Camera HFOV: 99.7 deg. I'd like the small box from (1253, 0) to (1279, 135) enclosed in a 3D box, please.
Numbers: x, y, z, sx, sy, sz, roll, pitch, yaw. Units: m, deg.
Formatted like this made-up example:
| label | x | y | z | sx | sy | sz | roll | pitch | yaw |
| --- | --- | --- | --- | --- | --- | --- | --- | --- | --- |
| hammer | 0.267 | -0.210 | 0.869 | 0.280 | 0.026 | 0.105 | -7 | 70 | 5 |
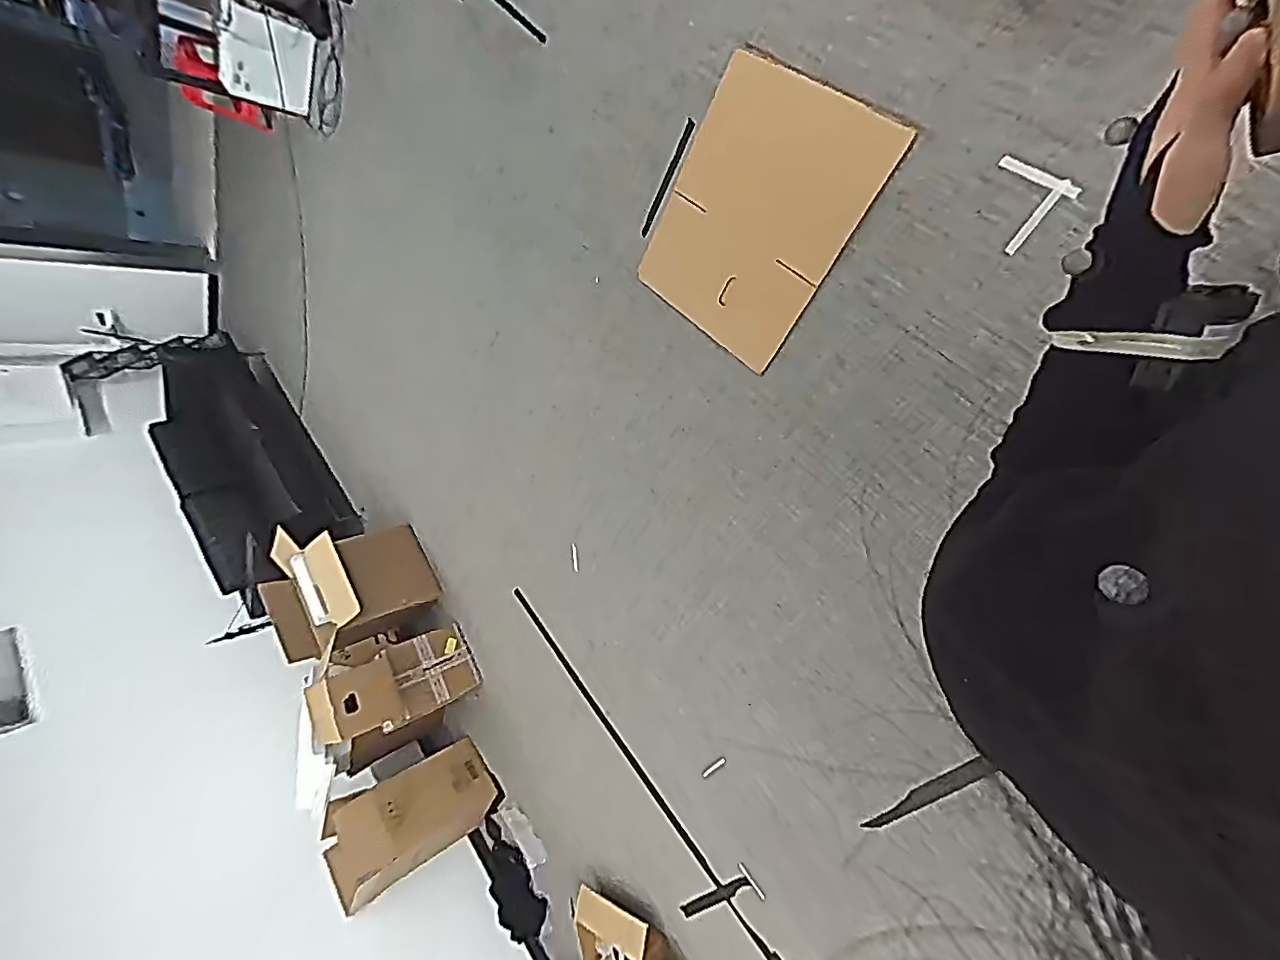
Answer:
| label | x | y | z | sx | sy | sz | roll | pitch | yaw |
| --- | --- | --- | --- | --- | --- | --- | --- | --- | --- |
| small box | 0.351 | -0.261 | 0.192 | 0.179 | 0.176 | 0.168 | -3 | 98 | 46 |
